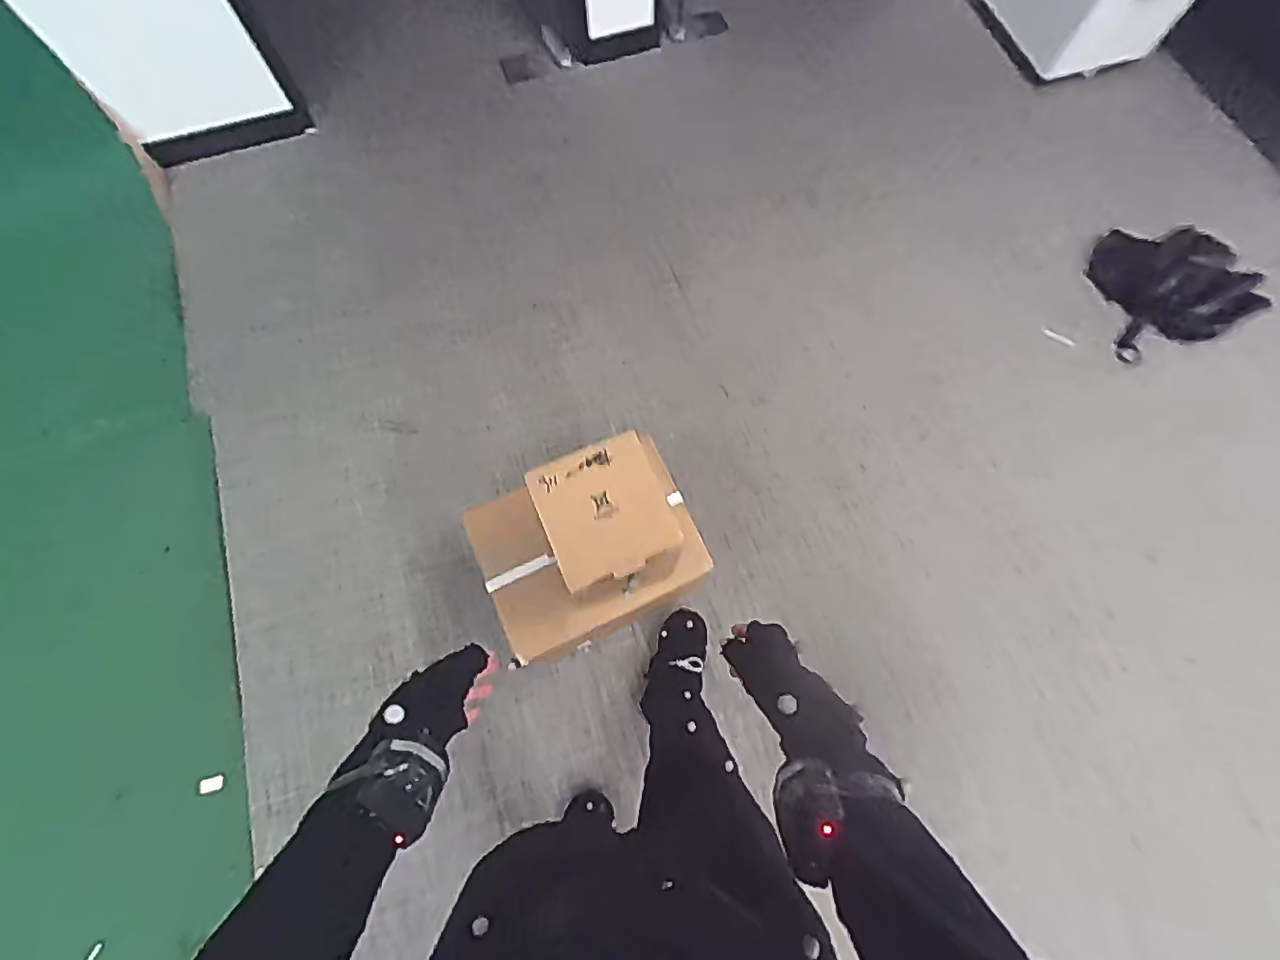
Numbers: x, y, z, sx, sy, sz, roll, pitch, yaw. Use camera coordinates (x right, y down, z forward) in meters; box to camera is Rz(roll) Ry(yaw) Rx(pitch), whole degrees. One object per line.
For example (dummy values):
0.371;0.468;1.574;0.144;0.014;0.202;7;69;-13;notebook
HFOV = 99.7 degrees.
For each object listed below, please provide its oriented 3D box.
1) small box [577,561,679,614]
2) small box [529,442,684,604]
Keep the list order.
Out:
-0.045;0.126;0.957;0.179;0.176;0.168;-20;72;-6;small box
-0.046;0.074;0.802;0.168;0.176;0.179;-22;73;-8;small box
